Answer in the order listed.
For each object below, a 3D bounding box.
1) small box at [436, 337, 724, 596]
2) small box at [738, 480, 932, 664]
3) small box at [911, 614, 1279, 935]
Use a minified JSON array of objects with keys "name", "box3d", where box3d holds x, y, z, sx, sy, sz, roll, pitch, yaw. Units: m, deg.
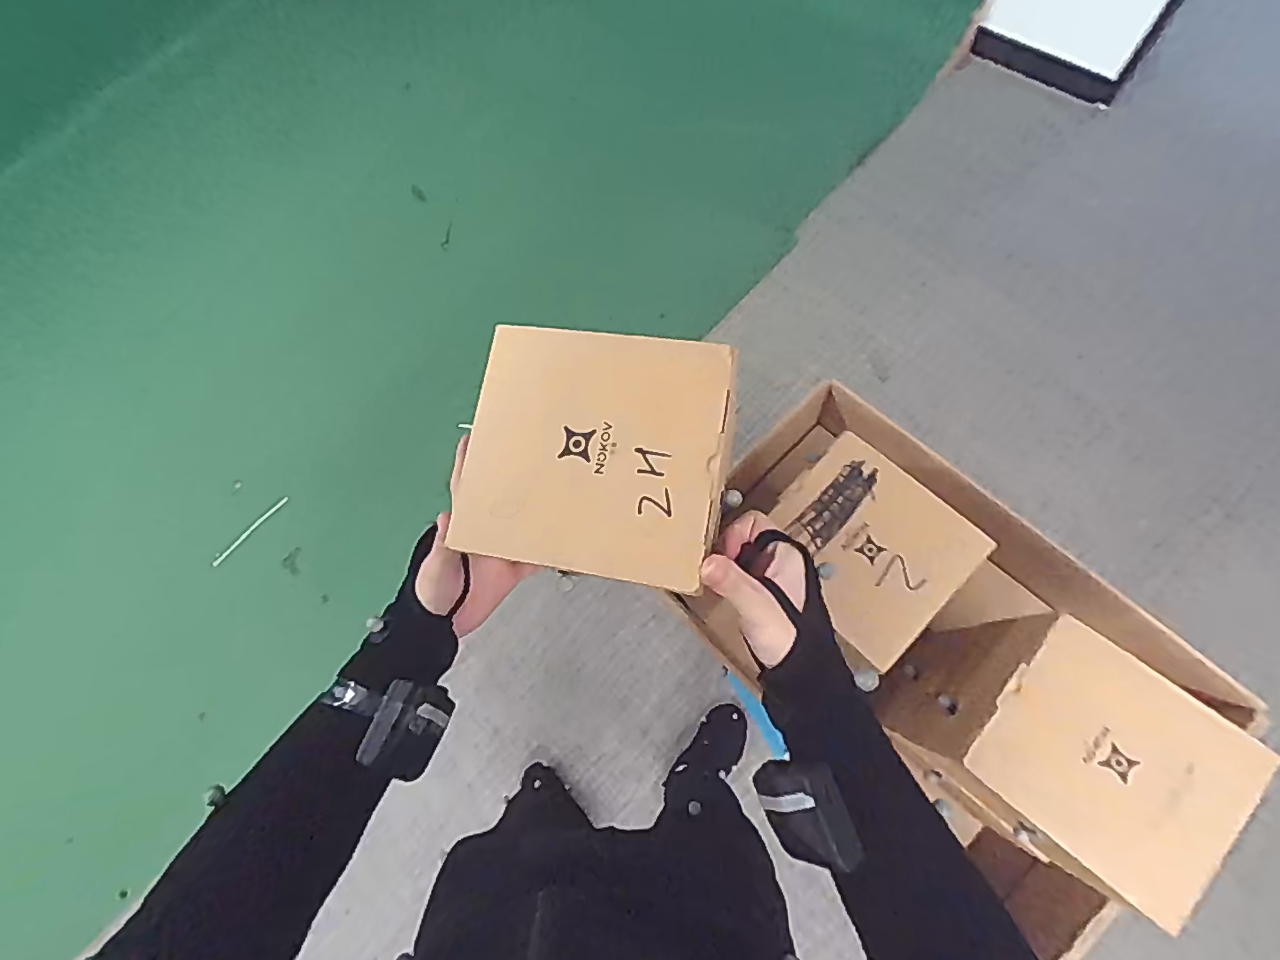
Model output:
[{"name":"small box","box3d":[-0.030,0.000,0.444,0.179,0.176,0.168,8,80,11]},{"name":"small box","box3d":[0.251,0.134,0.750,0.168,0.176,0.179,-45,73,-6]},{"name":"small box","box3d":[0.394,0.252,0.509,0.179,0.176,0.168,39,82,19]}]
